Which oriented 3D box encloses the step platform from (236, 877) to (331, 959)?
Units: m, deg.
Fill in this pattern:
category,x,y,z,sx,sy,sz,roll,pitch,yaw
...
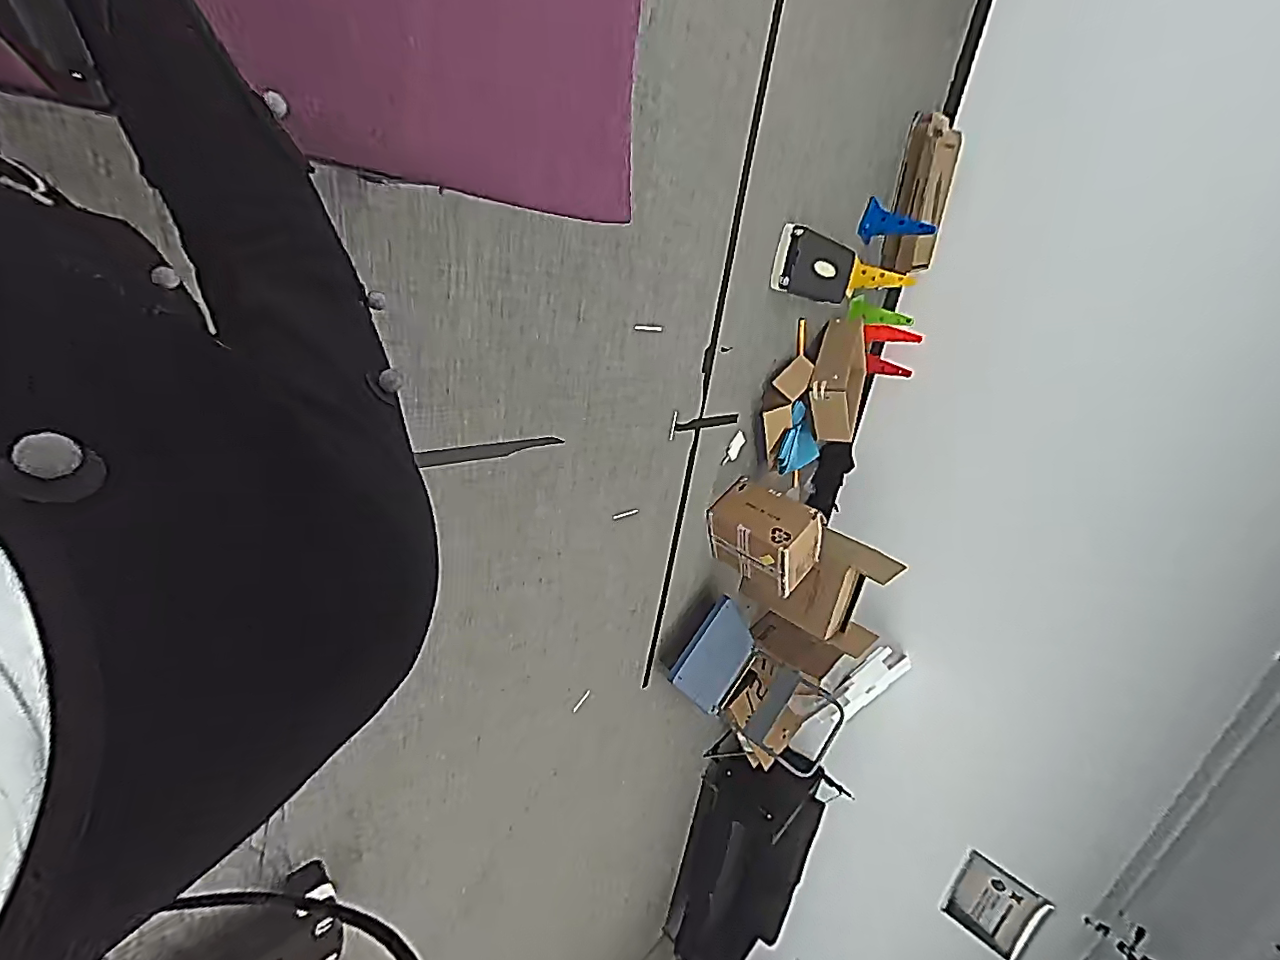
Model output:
category,x,y,z,sx,sy,sz,roll,pitch,yaw
step platform,-1.270,1.507,1.540,0.684,0.204,0.286,-15,123,-47
